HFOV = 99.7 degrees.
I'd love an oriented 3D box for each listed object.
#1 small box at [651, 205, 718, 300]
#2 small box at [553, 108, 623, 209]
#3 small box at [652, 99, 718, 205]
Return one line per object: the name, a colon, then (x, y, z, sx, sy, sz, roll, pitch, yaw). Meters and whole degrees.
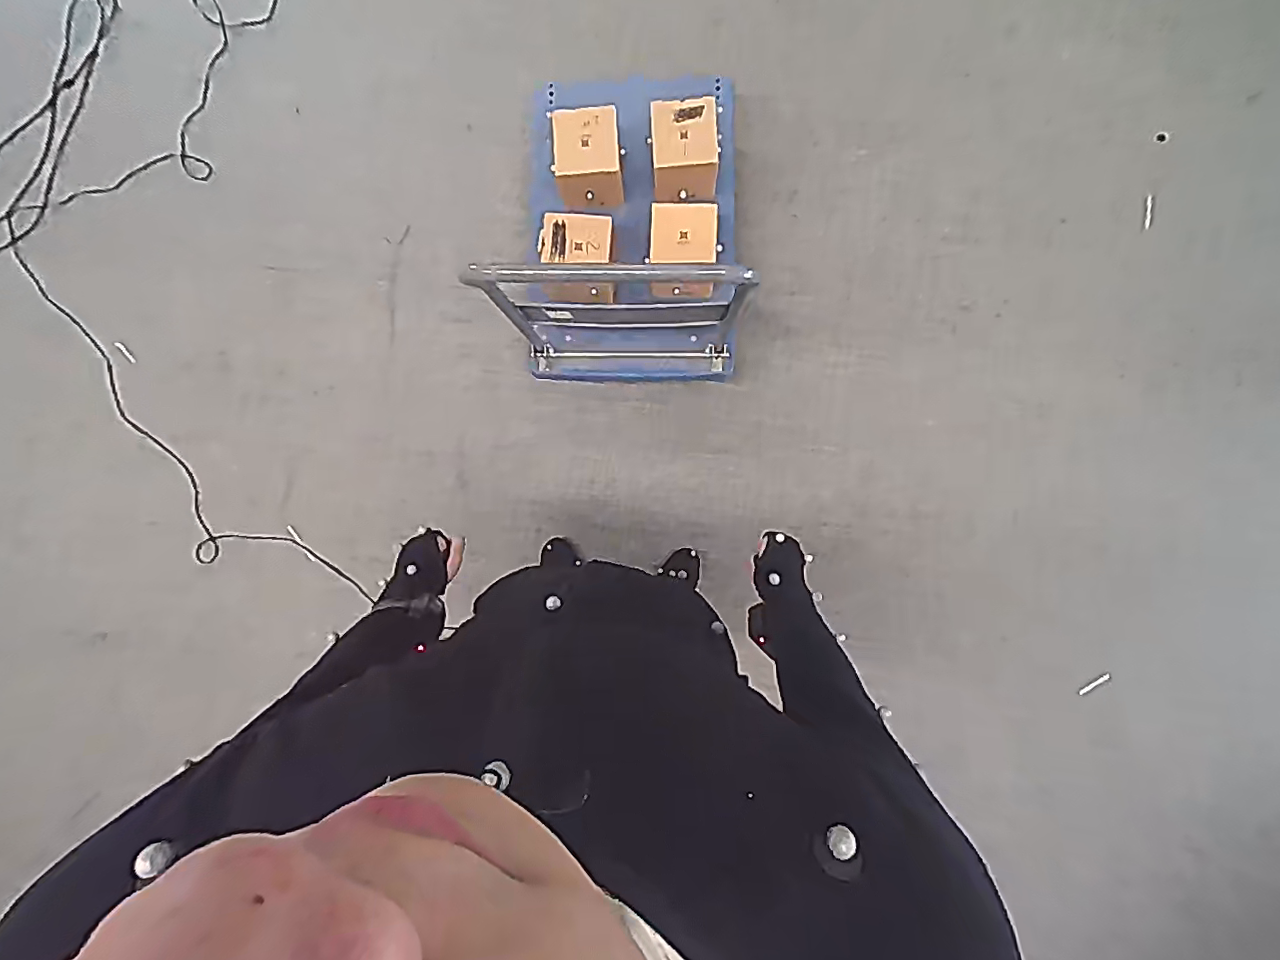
small box: (0.113, -0.595, 1.426, 0.168, 0.176, 0.179, 2, 88, 3)
small box: (-0.135, -0.851, 1.450, 0.168, 0.176, 0.179, -3, 87, 2)
small box: (0.116, -0.865, 1.438, 0.168, 0.176, 0.179, -3, 88, 4)
